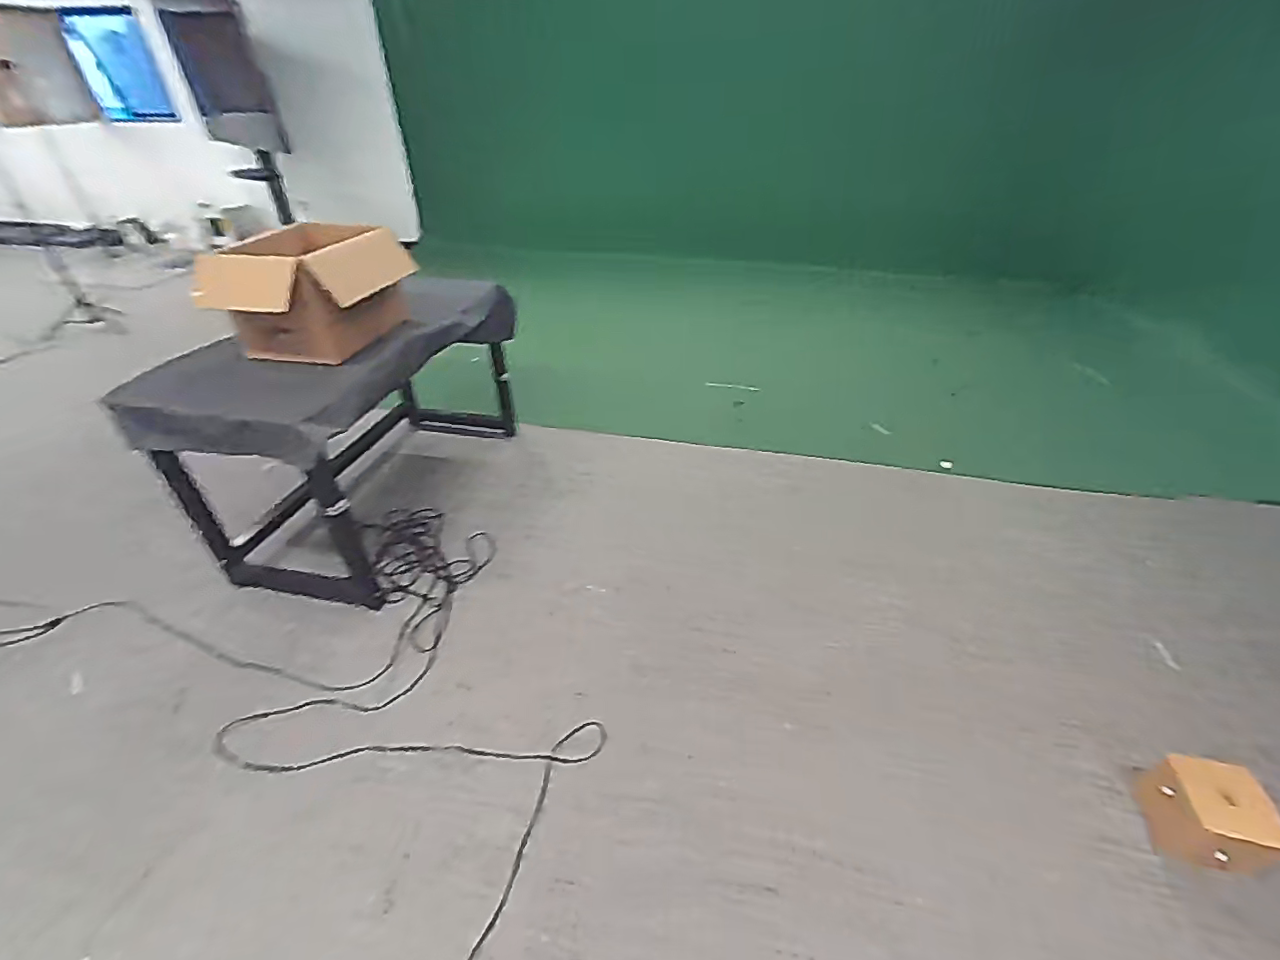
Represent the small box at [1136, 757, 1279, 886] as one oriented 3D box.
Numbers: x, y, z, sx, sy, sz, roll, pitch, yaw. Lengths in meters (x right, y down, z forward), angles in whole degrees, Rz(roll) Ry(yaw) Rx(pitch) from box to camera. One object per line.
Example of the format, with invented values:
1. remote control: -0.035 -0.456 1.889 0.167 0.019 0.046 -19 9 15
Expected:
1. small box: 1.275 0.762 1.206 0.168 0.176 0.179 9 37 12
